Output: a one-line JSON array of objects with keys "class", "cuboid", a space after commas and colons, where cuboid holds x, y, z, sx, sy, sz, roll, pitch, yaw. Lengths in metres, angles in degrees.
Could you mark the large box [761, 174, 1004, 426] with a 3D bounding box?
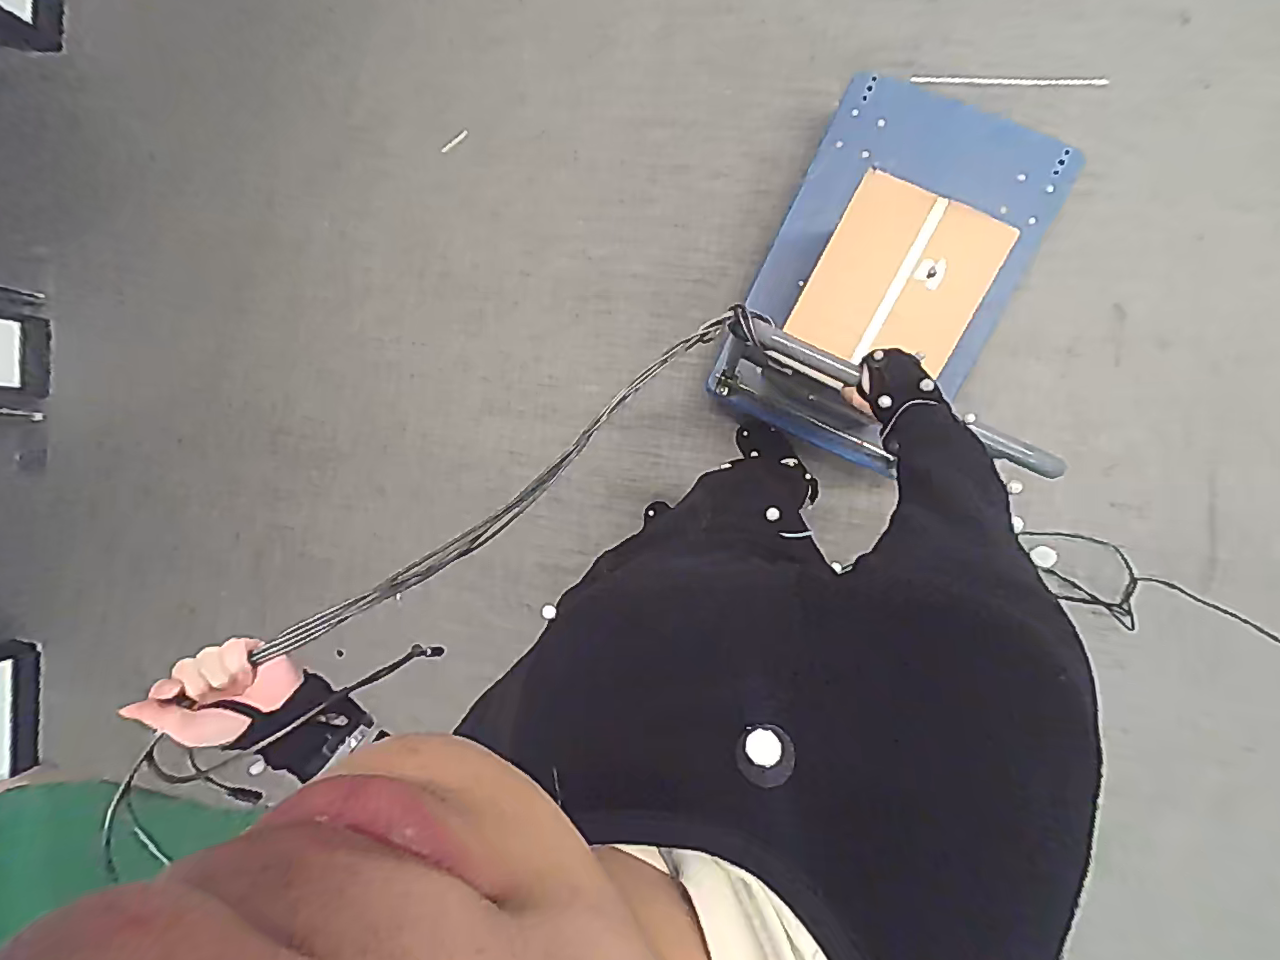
[{"class": "large box", "cuboid": [0.506, -0.372, 1.225, 0.320, 0.320, 0.408, 28, 96, 5]}]
